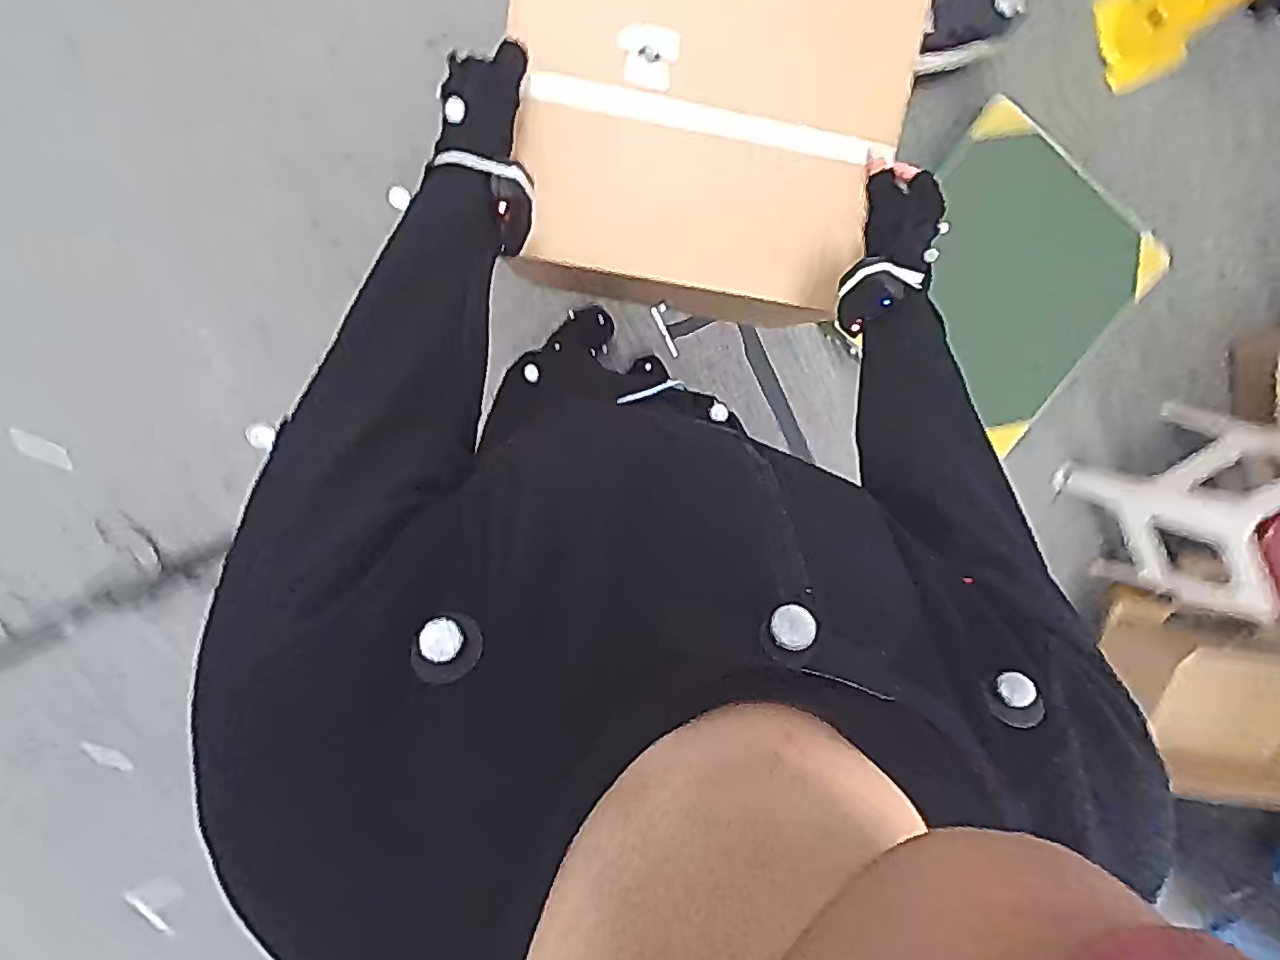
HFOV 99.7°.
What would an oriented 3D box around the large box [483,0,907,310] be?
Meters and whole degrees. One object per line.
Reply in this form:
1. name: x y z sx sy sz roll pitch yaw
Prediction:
1. large box: 0.045 -0.408 0.694 0.408 0.320 0.320 8 102 -5
